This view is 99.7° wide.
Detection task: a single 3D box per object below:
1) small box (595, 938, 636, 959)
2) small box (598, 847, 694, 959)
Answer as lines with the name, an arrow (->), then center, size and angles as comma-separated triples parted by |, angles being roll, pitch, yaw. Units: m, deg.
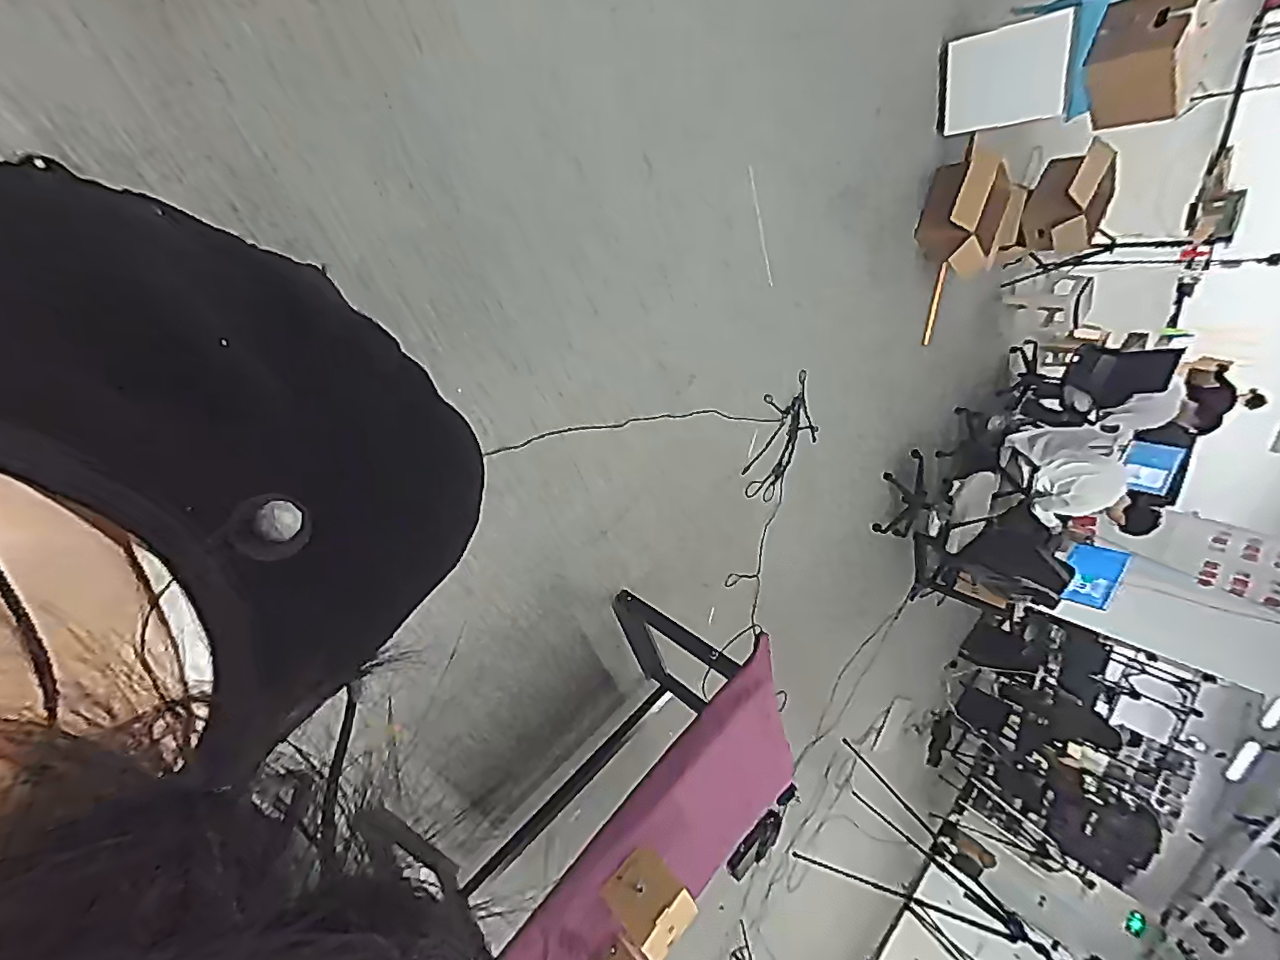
small box -> -0.058, 1.409, 1.472 | 0.168, 0.176, 0.179 | -40, 129, -25
small box -> 0.013, 1.119, 1.428 | 0.168, 0.176, 0.179 | -38, 129, -26
